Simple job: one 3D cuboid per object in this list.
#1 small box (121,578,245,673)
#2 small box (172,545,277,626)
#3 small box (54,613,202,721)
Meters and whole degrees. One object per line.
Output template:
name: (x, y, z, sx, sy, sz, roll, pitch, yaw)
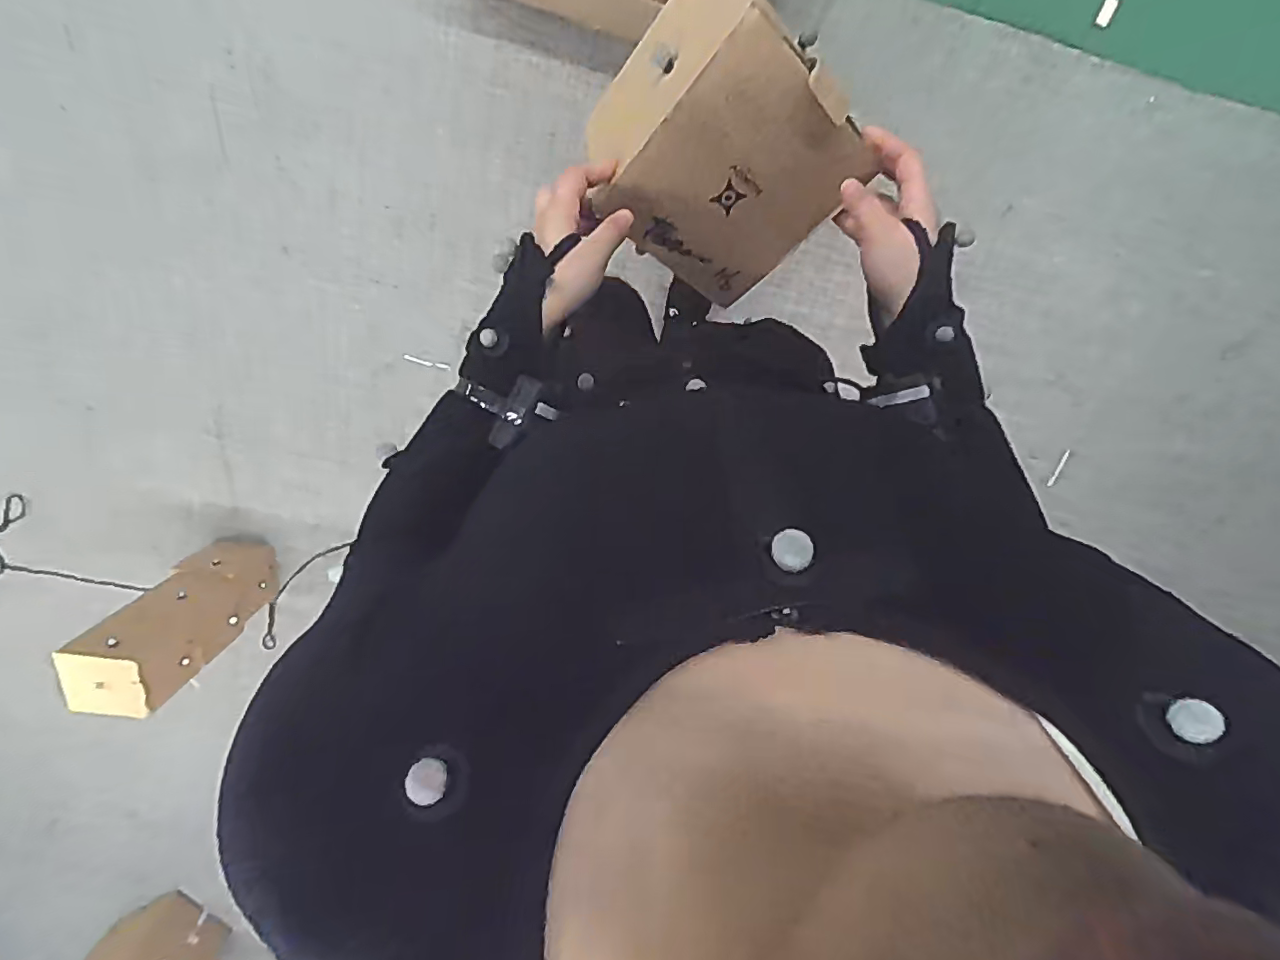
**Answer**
small box: (-1.186, 0.375, 1.416, 0.179, 0.176, 0.168, 8, 111, -3)
small box: (-1.185, 0.300, 1.562, 0.179, 0.176, 0.168, 5, 110, -1)
small box: (-1.182, 0.429, 1.263, 0.179, 0.176, 0.168, 7, 111, -3)
